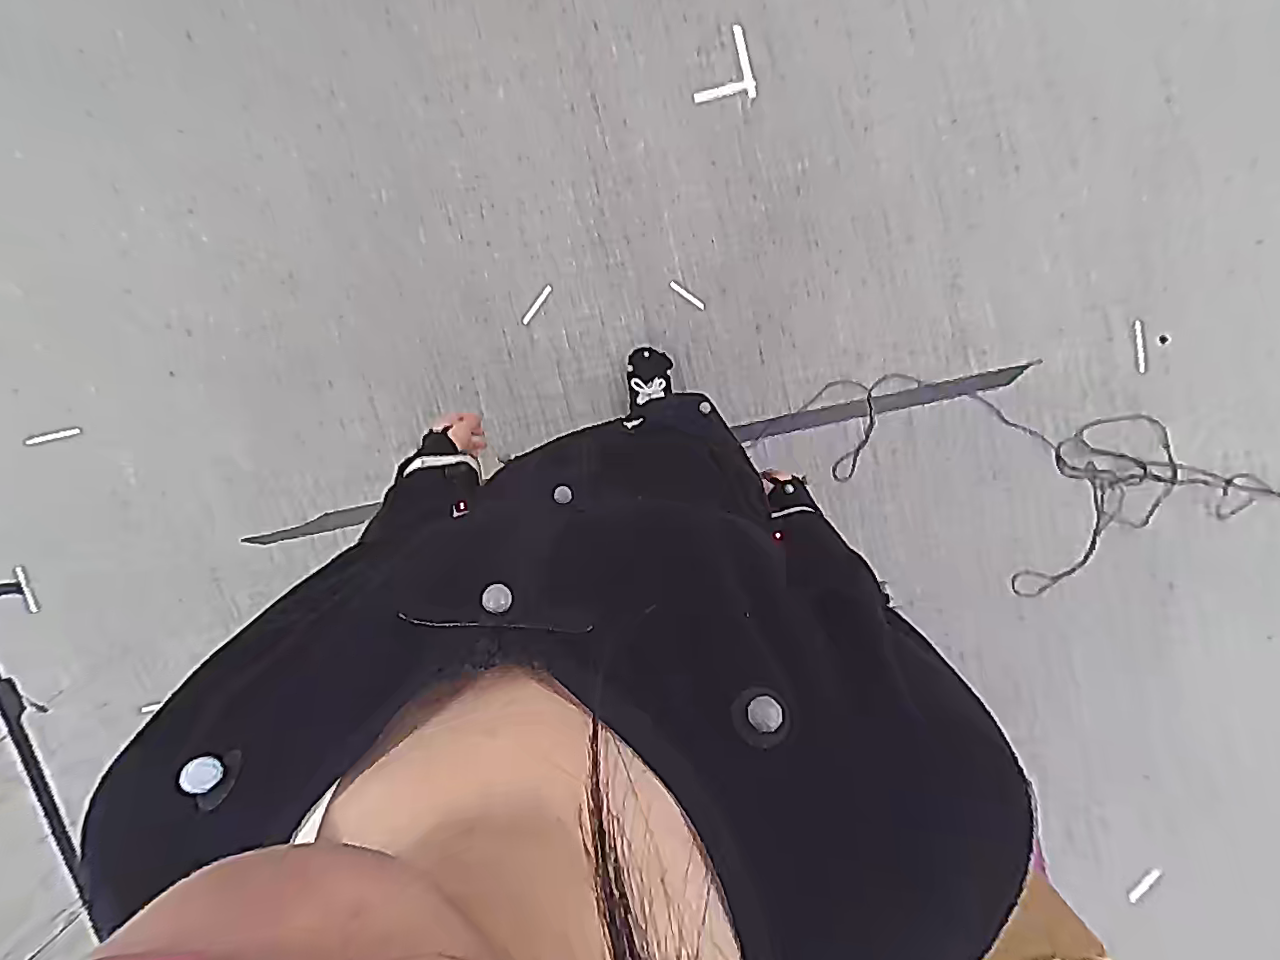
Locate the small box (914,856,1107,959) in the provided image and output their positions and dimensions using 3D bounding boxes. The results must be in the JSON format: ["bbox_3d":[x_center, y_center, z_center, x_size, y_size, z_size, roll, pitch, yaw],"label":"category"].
[{"bbox_3d":[0.506,0.663,0.752,0.168,0.176,0.179,-11,97,2],"label":"small box"}]
